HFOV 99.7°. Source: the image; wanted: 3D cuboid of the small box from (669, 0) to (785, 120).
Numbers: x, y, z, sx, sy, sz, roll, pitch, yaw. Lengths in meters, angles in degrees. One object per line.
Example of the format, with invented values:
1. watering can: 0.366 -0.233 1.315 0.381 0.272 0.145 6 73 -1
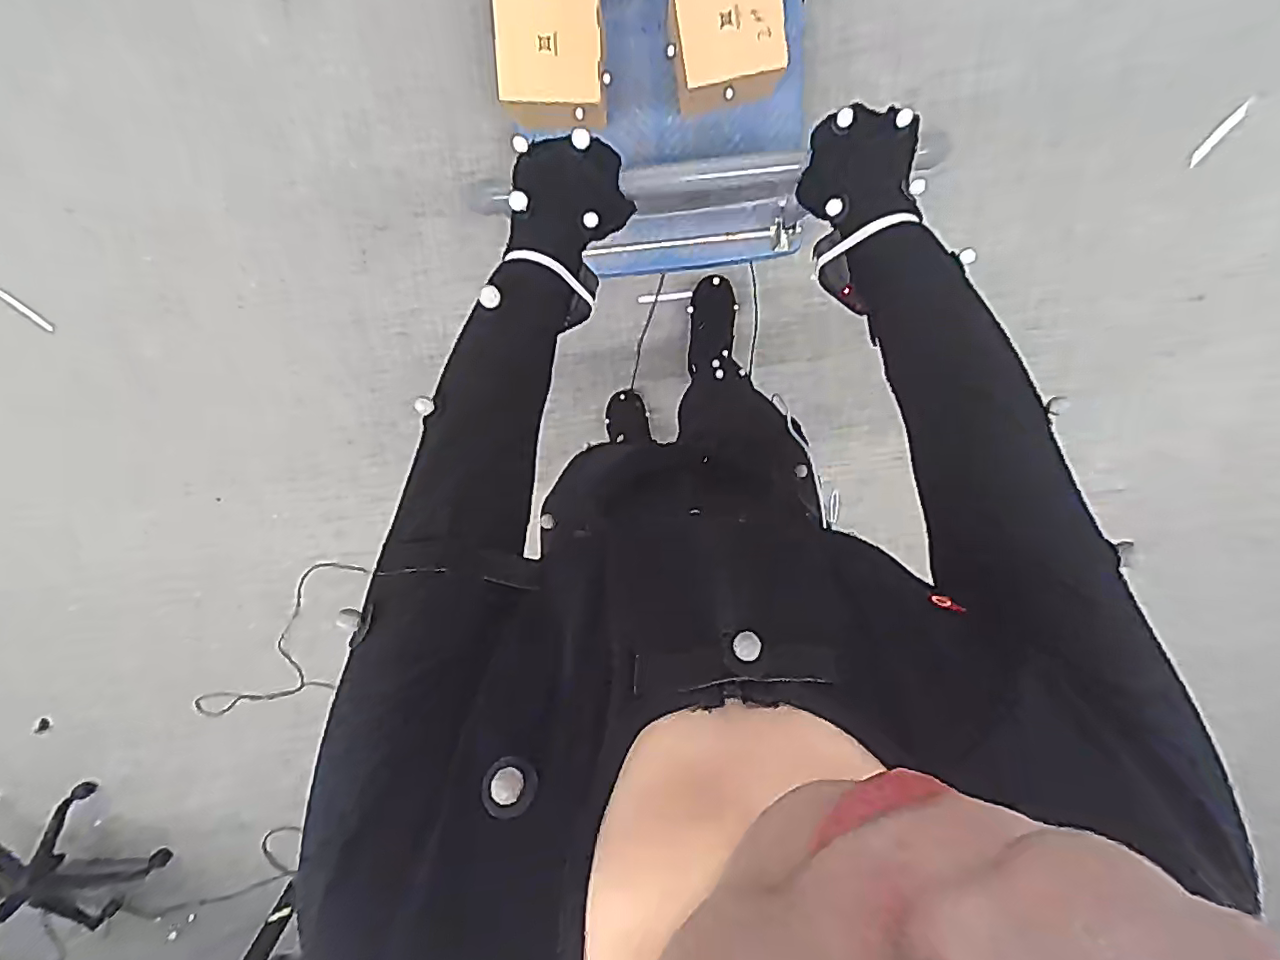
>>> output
1. small box: 0.149 -0.782 0.979 0.179 0.176 0.168 -11 109 4

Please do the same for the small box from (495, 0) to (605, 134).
1. small box: -0.155 -0.750 0.990 0.179 0.176 0.168 -1 108 -2
